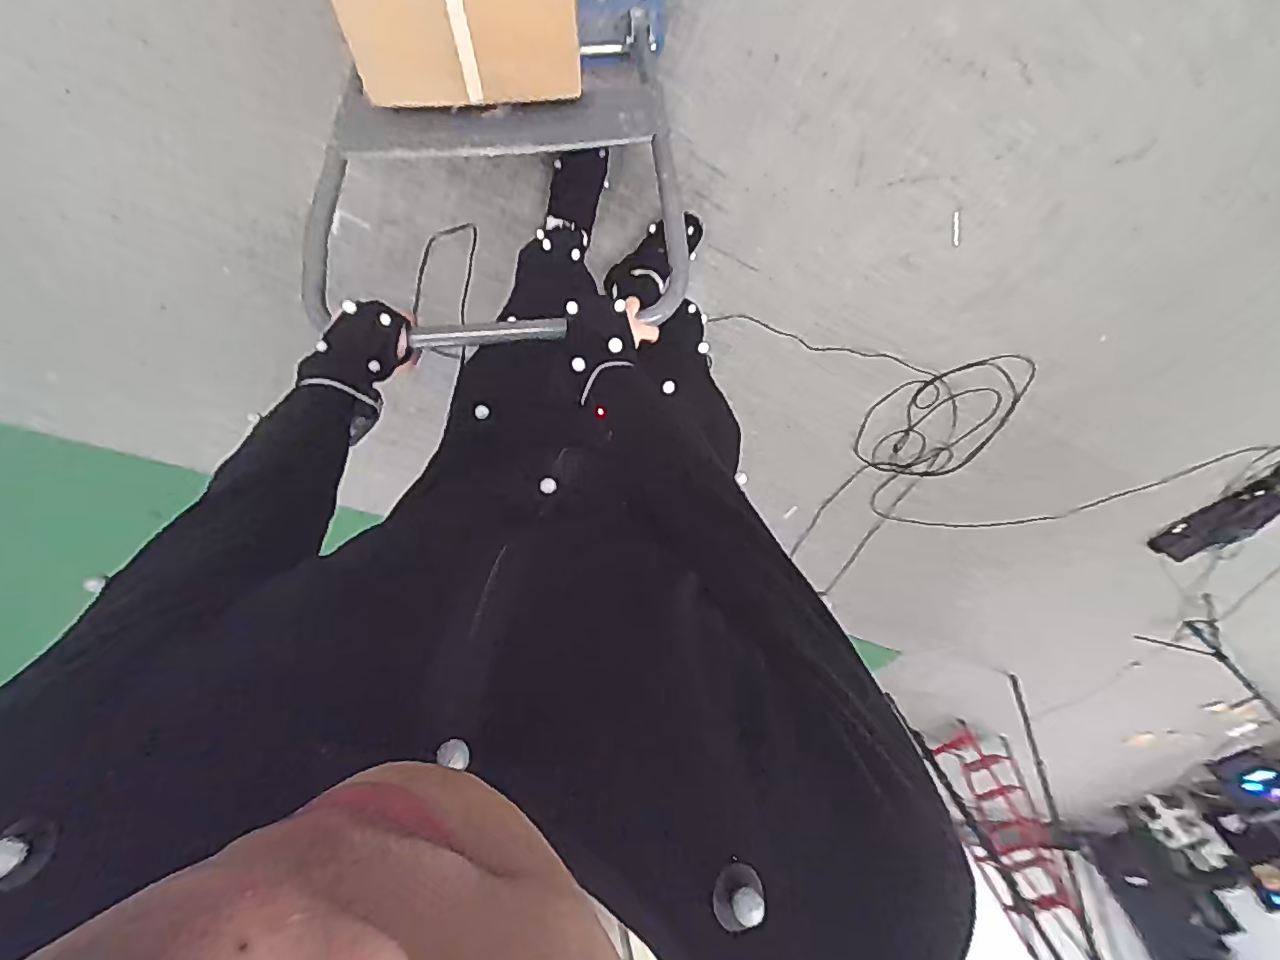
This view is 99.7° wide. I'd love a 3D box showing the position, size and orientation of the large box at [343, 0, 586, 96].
[{"bbox_3d":[-0.245,-0.809,0.718,0.320,0.320,0.408,-4,148,-2],"label":"large box"}]
